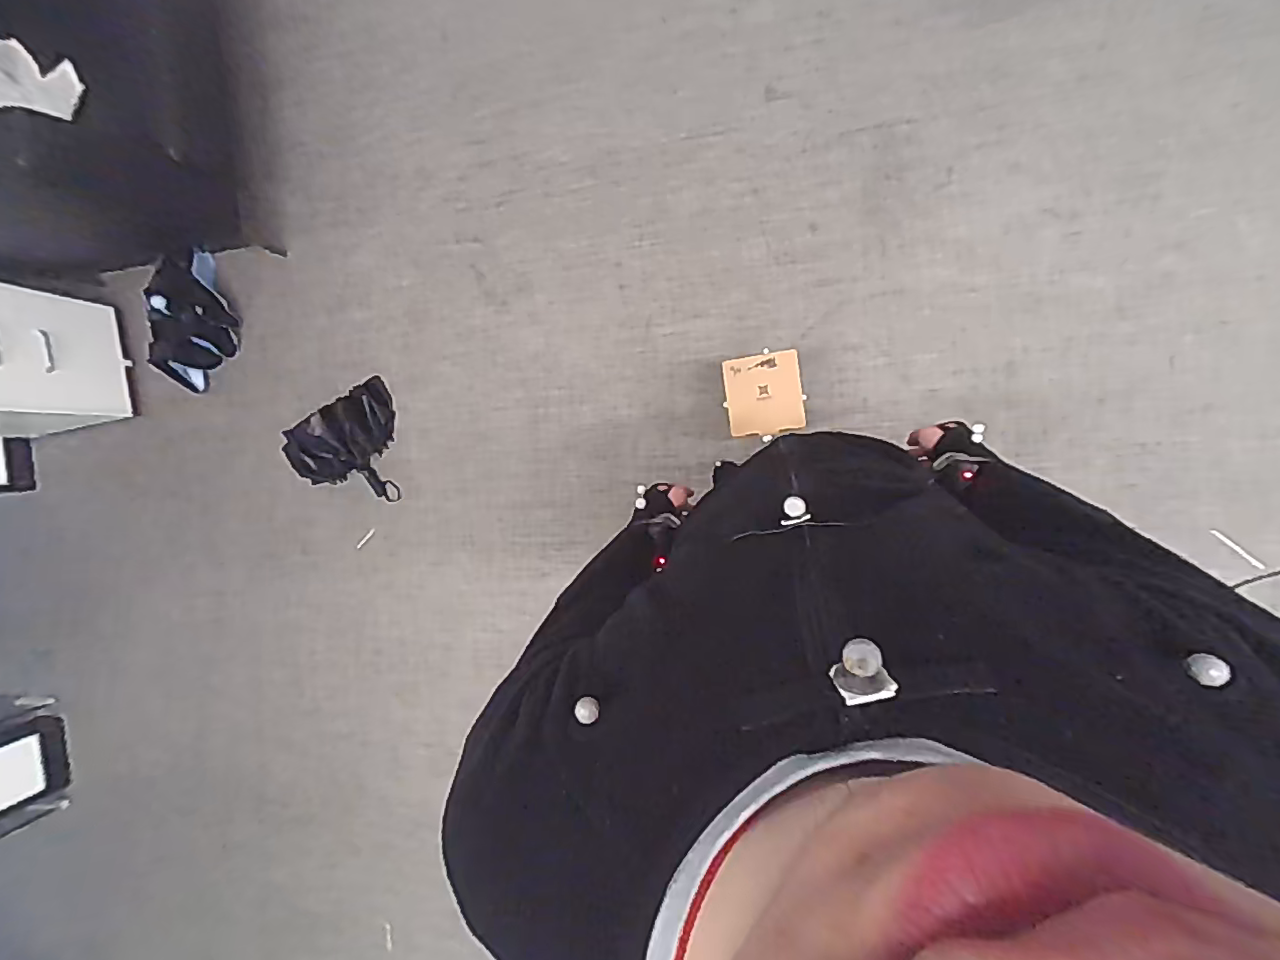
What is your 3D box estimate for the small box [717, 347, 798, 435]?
[{"bbox_3d":[0.281,-0.207,1.287,0.168,0.176,0.179,-7,93,13],"label":"small box"}]
